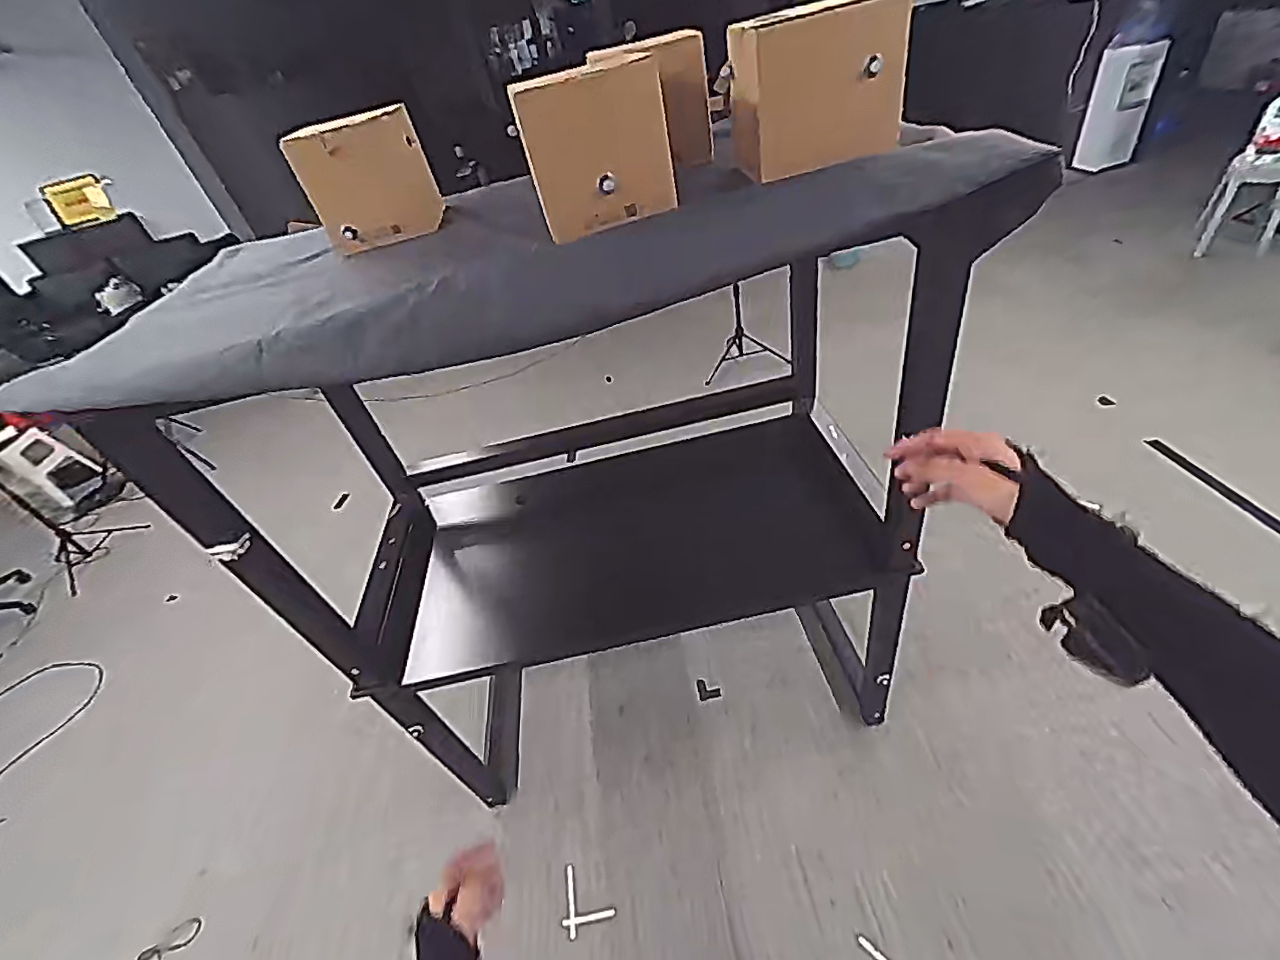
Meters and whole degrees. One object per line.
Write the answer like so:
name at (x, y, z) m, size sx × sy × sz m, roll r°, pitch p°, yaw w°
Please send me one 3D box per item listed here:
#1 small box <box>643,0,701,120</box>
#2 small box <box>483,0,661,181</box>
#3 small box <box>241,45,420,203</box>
small box at (-0.007, -0.667, 0.844) m, size 0.168 × 0.176 × 0.179 m, roll -13°, pitch 41°, yaw 2°
small box at (-0.083, -0.485, 0.661) m, size 0.168 × 0.176 × 0.179 m, roll -17°, pitch 41°, yaw -3°
small box at (-0.465, -0.554, 0.849) m, size 0.168 × 0.176 × 0.179 m, roll -16°, pitch 41°, yaw -2°
